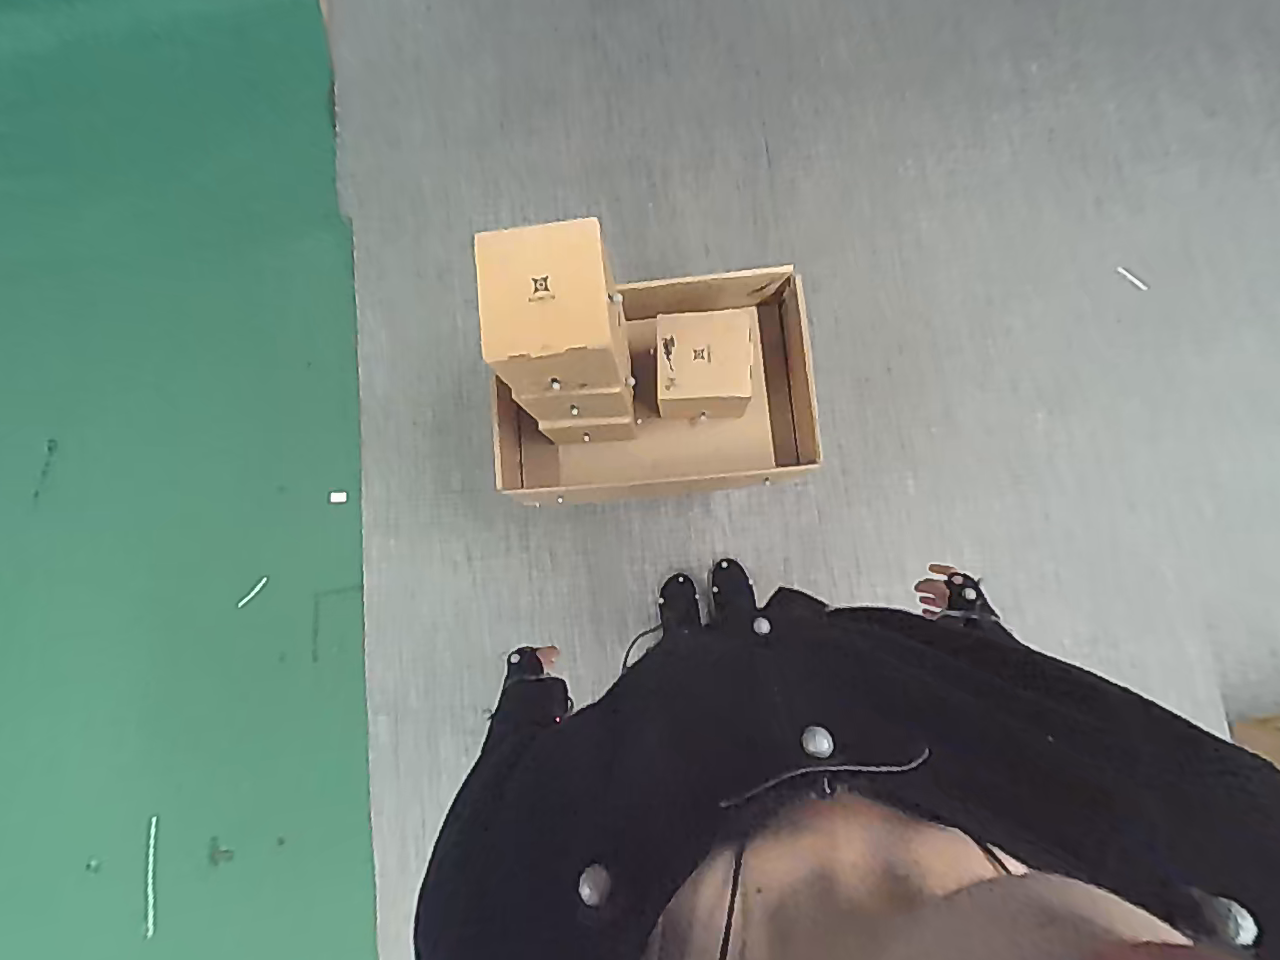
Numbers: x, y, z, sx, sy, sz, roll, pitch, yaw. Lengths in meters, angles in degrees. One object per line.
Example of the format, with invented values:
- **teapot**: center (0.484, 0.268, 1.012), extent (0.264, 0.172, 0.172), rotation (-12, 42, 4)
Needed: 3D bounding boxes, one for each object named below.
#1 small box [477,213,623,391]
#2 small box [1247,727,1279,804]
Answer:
- **small box**: center (-0.118, -0.239, 0.762), extent (0.168, 0.176, 0.179), rotation (-6, 83, 3)
- **small box**: center (1.594, 0.683, 1.260), extent (0.168, 0.176, 0.179), rotation (-7, 82, 4)
